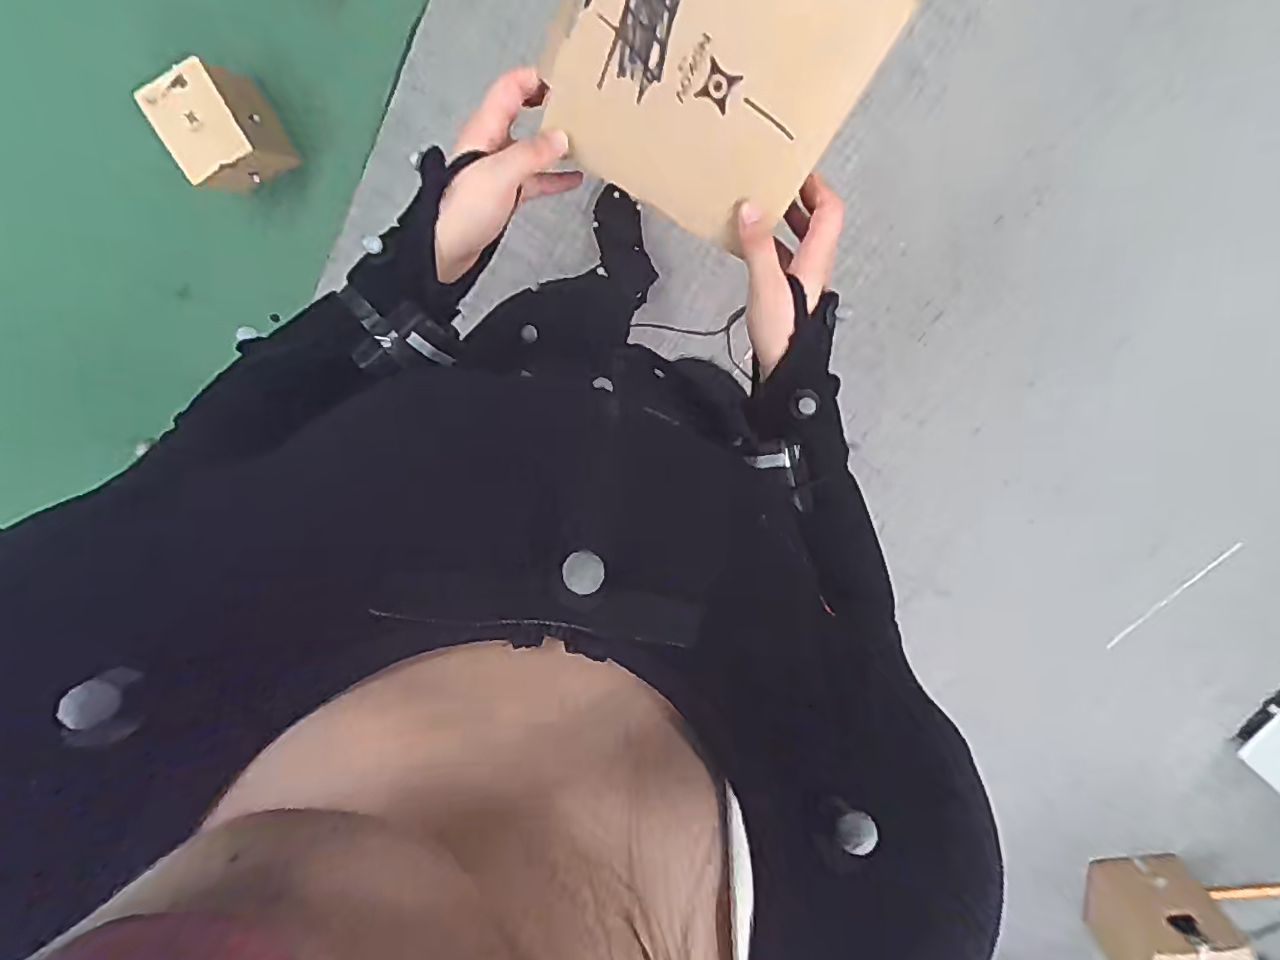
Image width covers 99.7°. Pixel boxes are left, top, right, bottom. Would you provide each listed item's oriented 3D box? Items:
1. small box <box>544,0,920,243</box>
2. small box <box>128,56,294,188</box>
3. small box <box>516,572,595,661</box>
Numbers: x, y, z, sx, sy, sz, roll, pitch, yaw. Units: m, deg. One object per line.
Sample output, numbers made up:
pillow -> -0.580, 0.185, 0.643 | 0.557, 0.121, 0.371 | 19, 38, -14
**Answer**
small box -> 0.058, -0.307, 0.385 | 0.179, 0.176, 0.168 | 25, 129, -12
small box -> -0.881, -0.734, 1.133 | 0.168, 0.176, 0.179 | -20, 113, 10
small box -> -0.245, 0.405, 1.629 | 0.179, 0.176, 0.168 | -21, 112, 11
